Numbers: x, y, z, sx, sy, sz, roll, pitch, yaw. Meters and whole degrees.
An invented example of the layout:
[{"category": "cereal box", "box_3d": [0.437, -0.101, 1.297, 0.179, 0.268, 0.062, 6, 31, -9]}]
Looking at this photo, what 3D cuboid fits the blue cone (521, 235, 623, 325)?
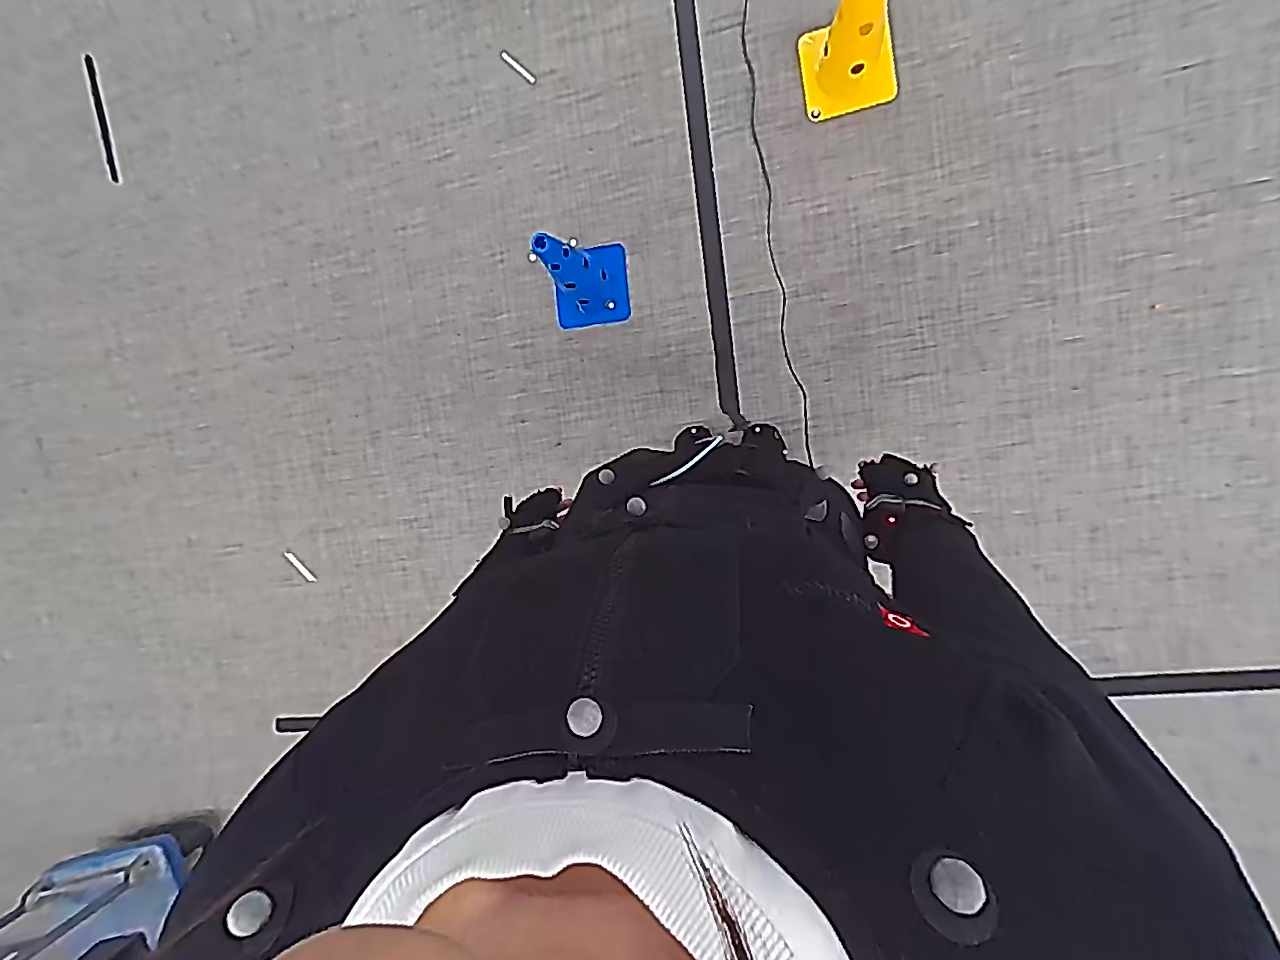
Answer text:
[{"category": "blue cone", "box_3d": [-0.175, -0.499, 1.272, 0.192, 0.380, 0.193, -3, 95, 13]}]
